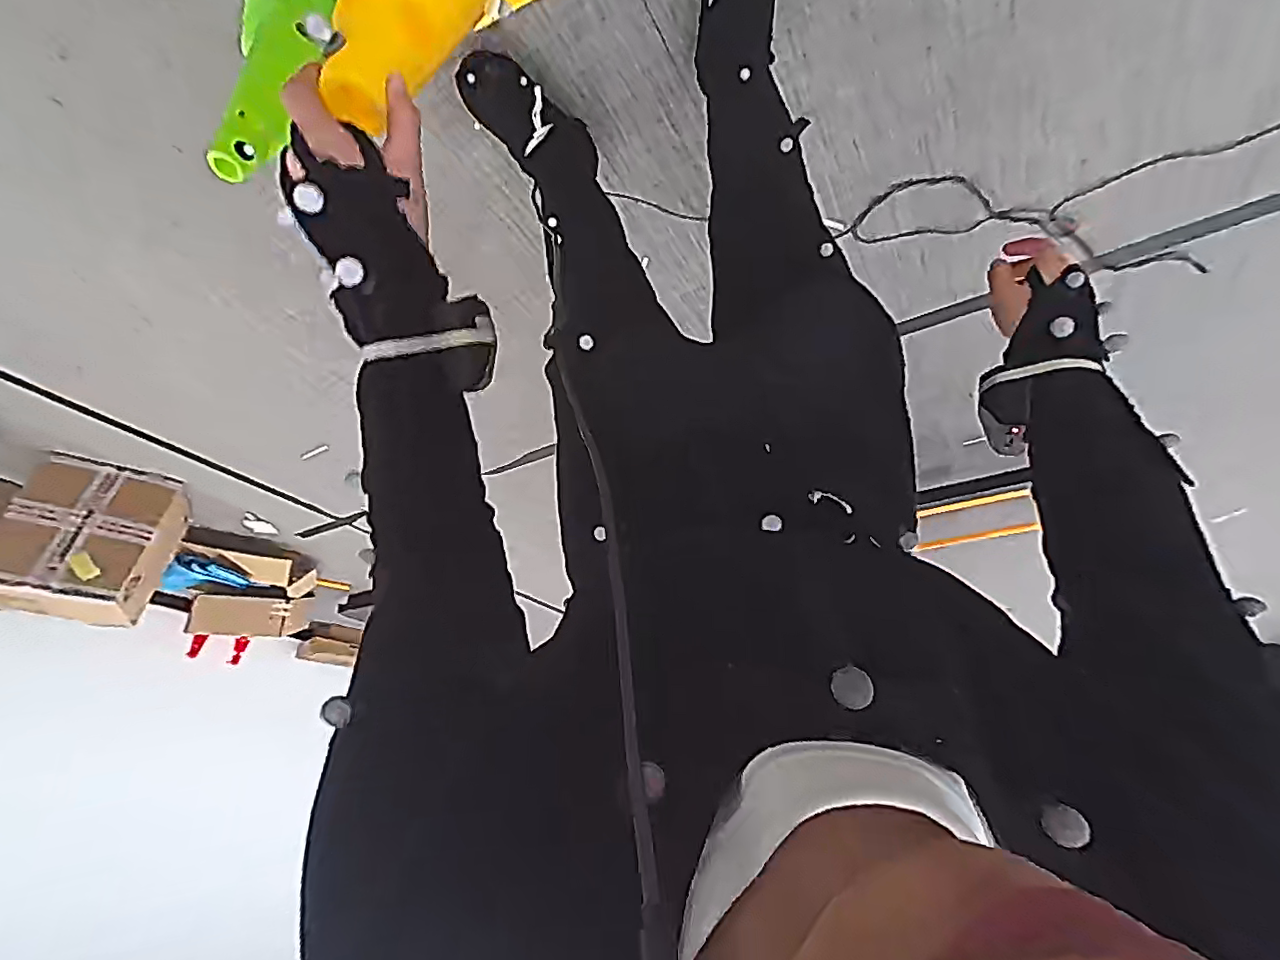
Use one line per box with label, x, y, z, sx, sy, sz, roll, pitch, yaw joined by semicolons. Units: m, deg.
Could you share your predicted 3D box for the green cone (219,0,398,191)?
green cone;-0.508;-0.535;0.767;0.202;0.368;0.200;21;145;-30
